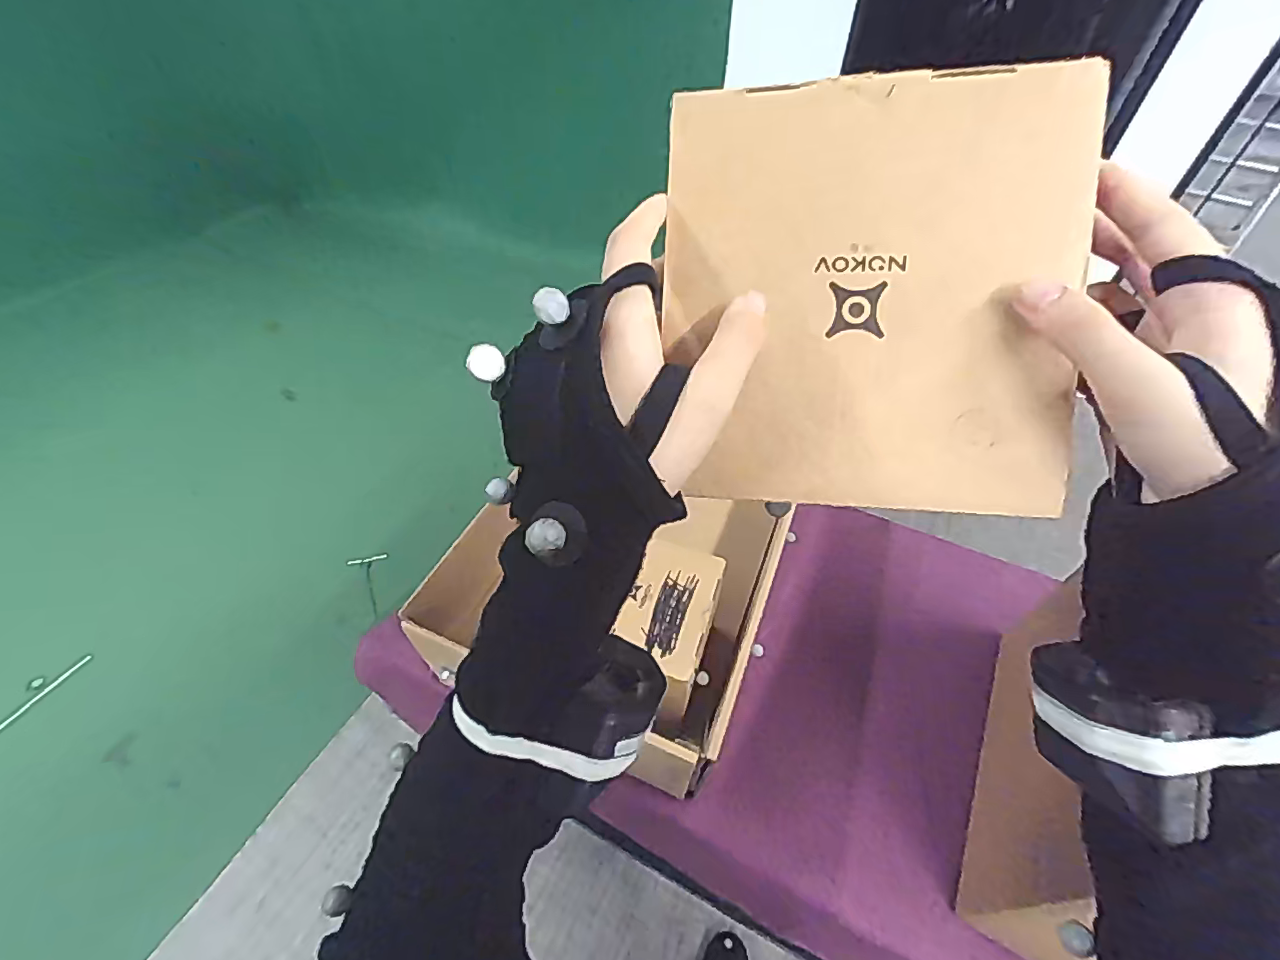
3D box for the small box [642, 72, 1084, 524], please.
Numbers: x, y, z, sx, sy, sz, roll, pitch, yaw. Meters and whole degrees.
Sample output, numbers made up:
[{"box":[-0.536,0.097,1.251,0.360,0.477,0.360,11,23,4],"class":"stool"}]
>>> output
[{"box":[0.101,-0.078,0.305,0.168,0.179,0.176,3,4,11],"class":"small box"}]
